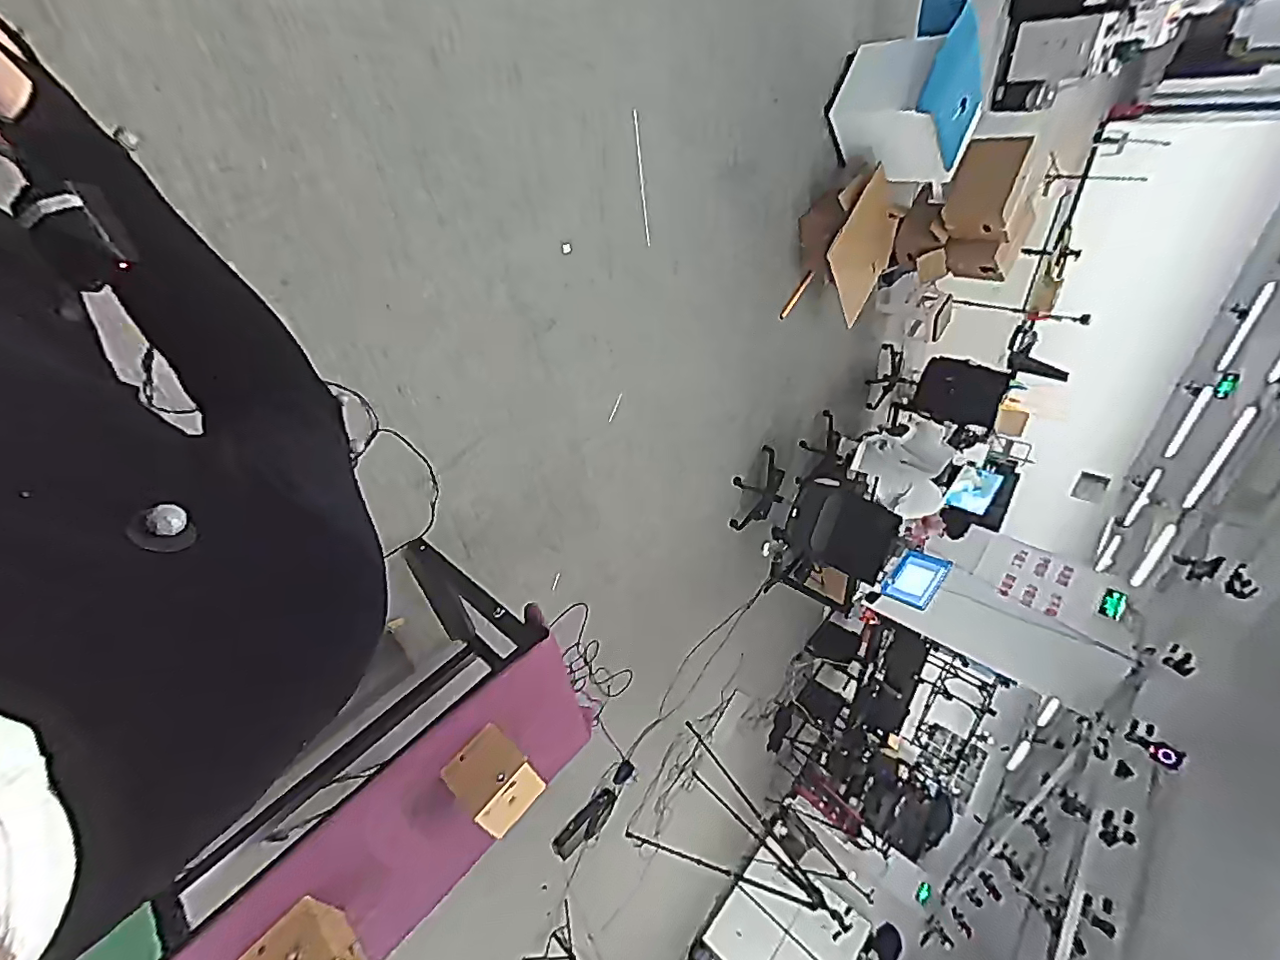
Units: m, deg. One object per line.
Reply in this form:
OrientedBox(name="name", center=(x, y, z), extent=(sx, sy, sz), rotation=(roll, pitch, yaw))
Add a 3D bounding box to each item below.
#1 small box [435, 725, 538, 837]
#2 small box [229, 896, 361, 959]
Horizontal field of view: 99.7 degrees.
OrientedBox(name="small box", center=(-0.400, 0.780, 1.415), extent=(0.168, 0.176, 0.179), rotation=(-42, 140, -28))
OrientedBox(name="small box", center=(-0.734, 1.038, 1.150), extent=(0.168, 0.176, 0.179), rotation=(-40, 140, -31))
